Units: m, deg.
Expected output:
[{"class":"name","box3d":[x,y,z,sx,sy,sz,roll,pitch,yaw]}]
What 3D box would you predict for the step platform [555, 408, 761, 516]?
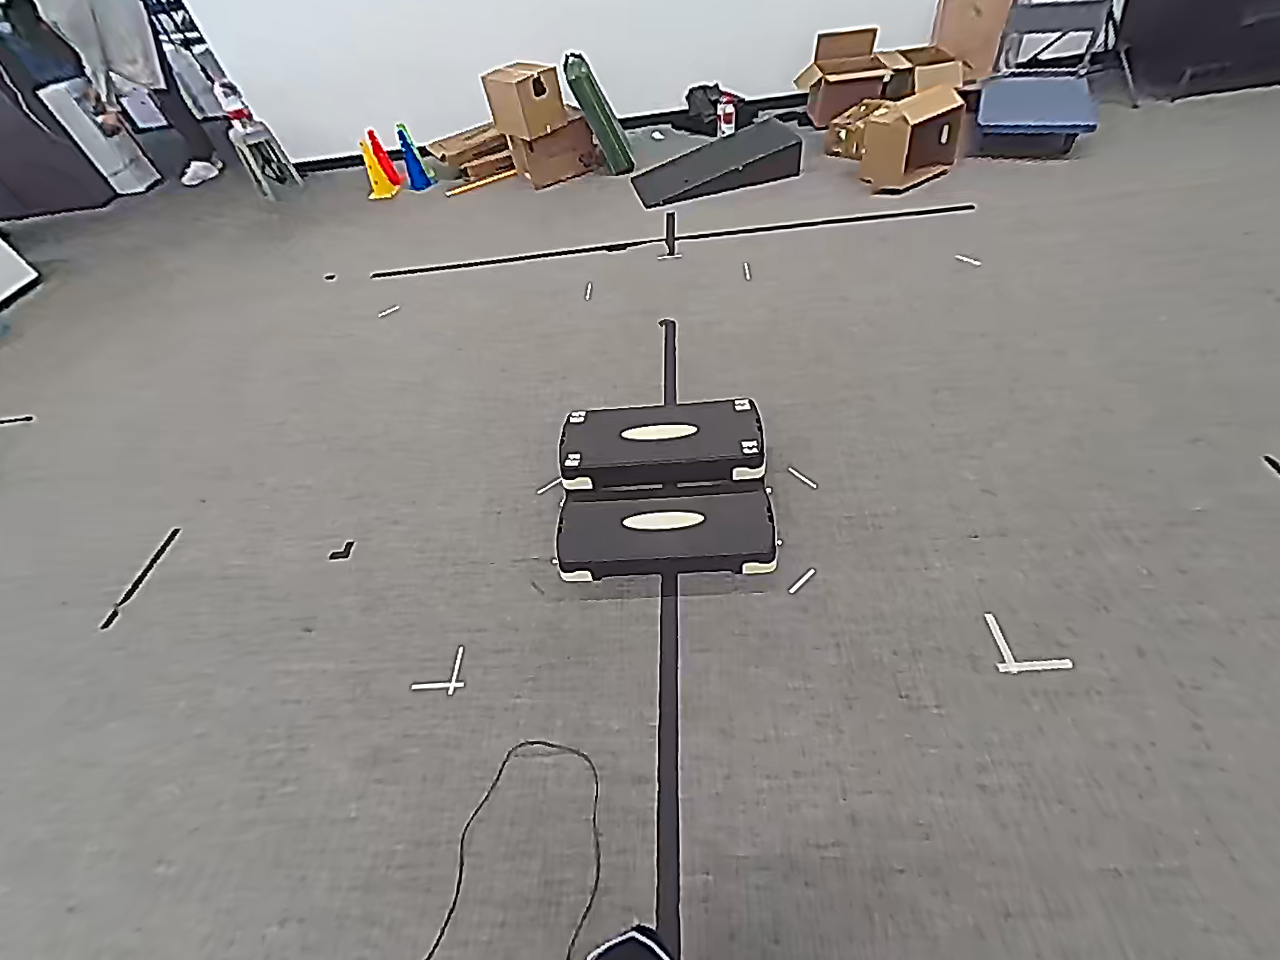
[{"class":"step platform","box3d":[0.059,-0.064,1.826,0.684,0.204,0.286,-4,50,5]}]
